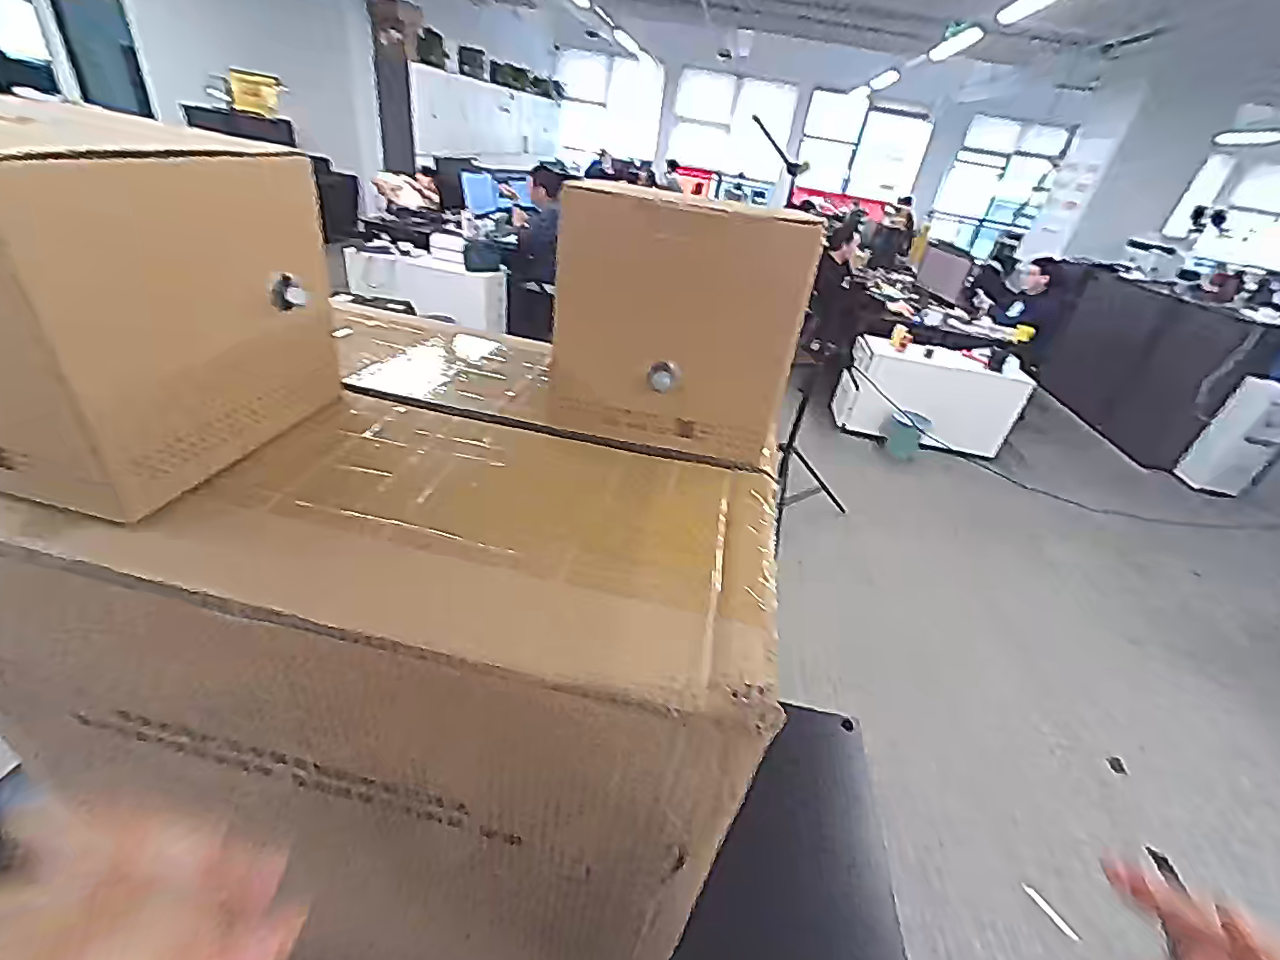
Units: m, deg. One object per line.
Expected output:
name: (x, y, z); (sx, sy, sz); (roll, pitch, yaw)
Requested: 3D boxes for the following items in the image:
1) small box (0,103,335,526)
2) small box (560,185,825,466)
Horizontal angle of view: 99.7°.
small box: (-0.305, -0.102, 0.310); (0.168, 0.176, 0.179); (12, 33, 3)
small box: (0.036, -0.133, 0.444); (0.168, 0.176, 0.179); (10, 29, 4)
